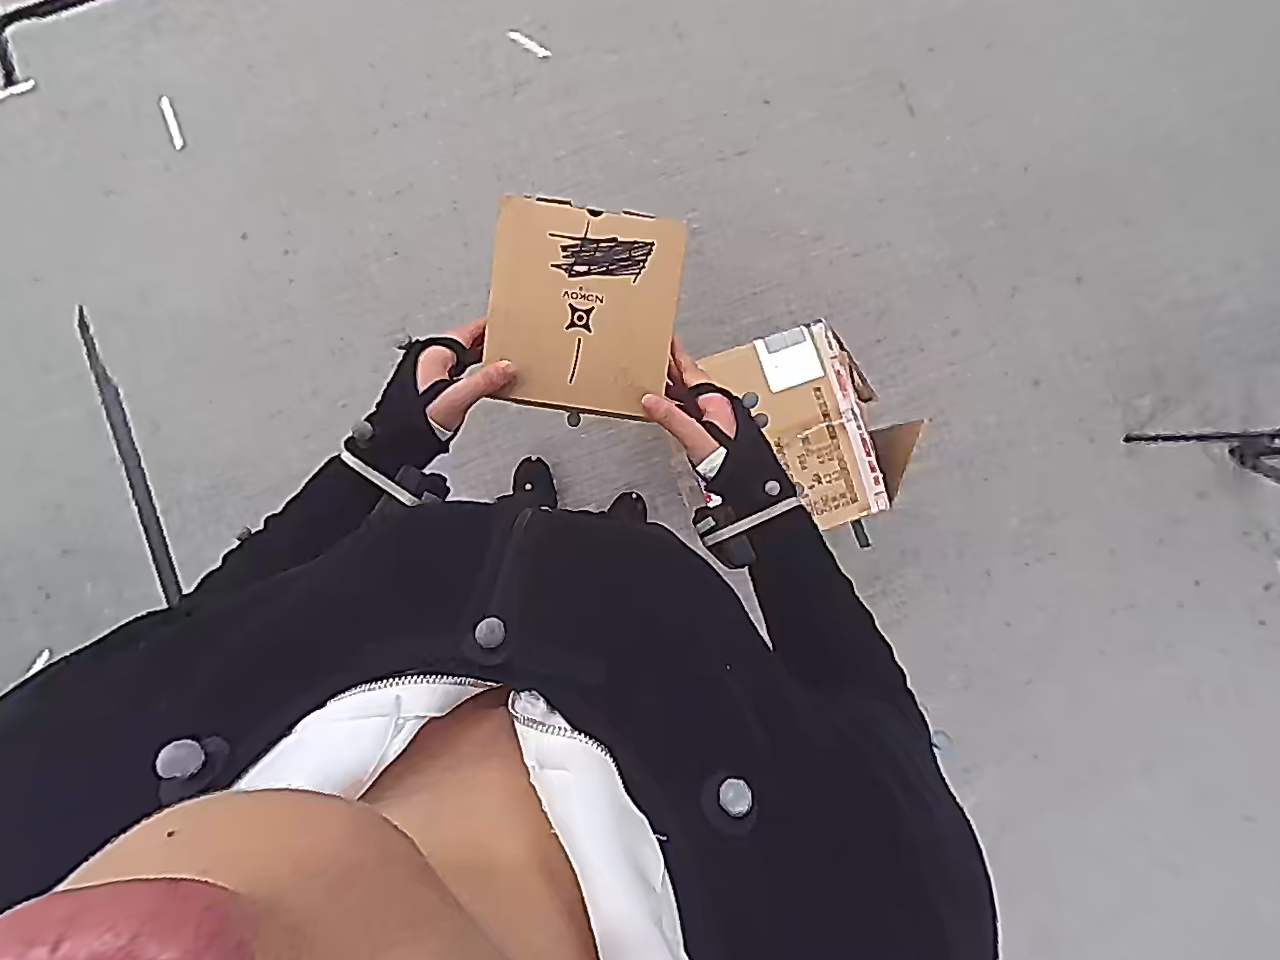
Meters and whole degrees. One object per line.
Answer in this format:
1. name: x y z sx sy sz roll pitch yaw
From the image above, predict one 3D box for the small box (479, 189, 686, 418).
1. small box: -0.054 -0.163 0.556 0.168 0.176 0.179 7 95 -2
